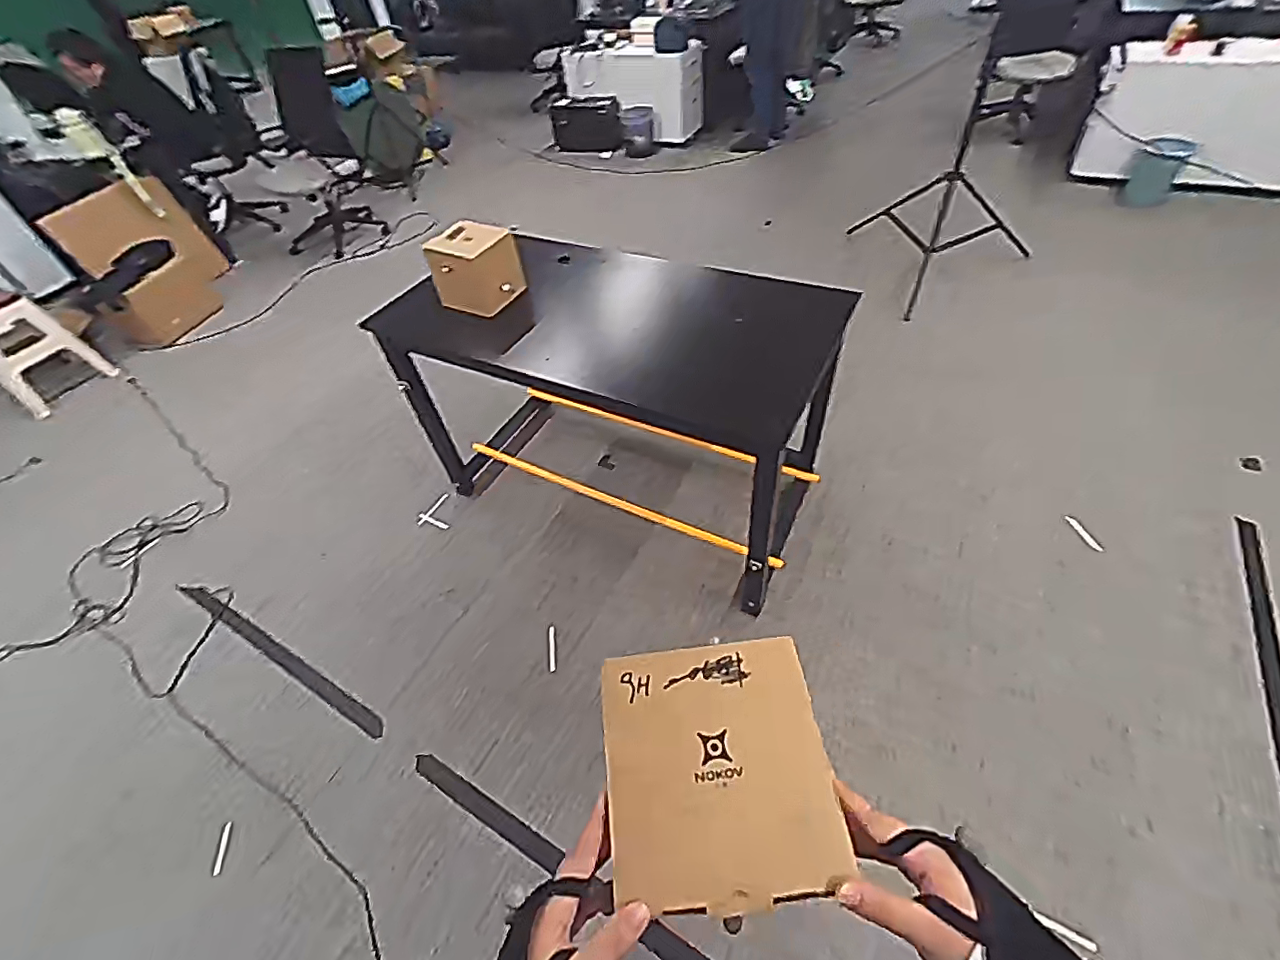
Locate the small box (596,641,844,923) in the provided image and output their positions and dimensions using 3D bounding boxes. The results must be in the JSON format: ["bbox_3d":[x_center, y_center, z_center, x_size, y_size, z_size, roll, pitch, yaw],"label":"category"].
[{"bbox_3d":[0.057,0.263,0.477,0.168,0.176,0.179,-7,54,-1],"label":"small box"}]

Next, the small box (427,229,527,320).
[{"bbox_3d":[-0.438,-0.561,1.480,0.179,0.176,0.168,20,53,21],"label":"small box"}]
